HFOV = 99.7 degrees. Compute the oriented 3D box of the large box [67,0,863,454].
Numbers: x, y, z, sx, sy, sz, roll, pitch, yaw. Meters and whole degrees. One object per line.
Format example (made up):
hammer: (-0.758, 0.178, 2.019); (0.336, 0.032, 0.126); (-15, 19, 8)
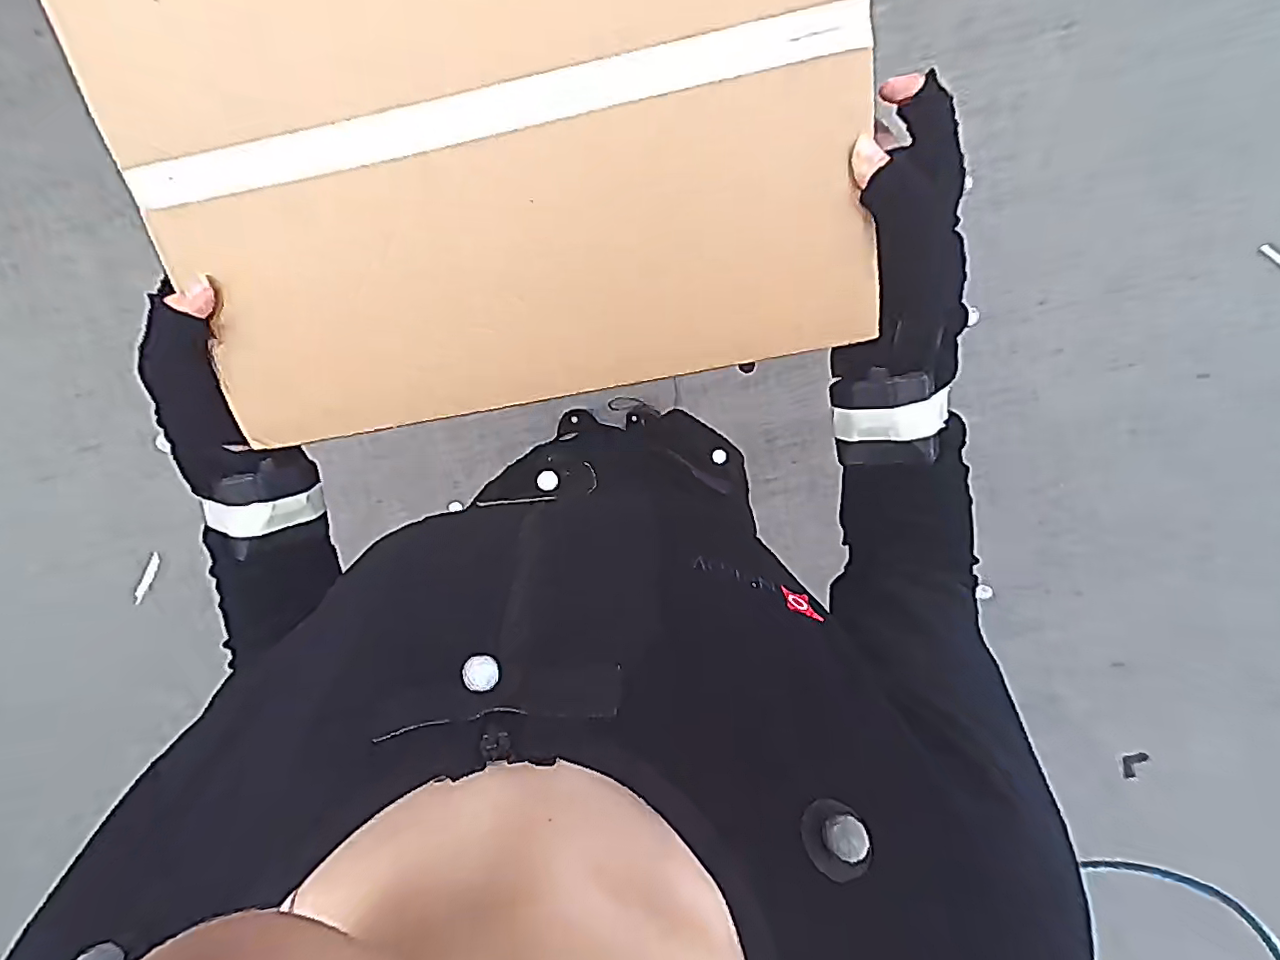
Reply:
large box: (-0.080, -0.245, 0.438); (0.408, 0.320, 0.320); (-9, 110, 5)
